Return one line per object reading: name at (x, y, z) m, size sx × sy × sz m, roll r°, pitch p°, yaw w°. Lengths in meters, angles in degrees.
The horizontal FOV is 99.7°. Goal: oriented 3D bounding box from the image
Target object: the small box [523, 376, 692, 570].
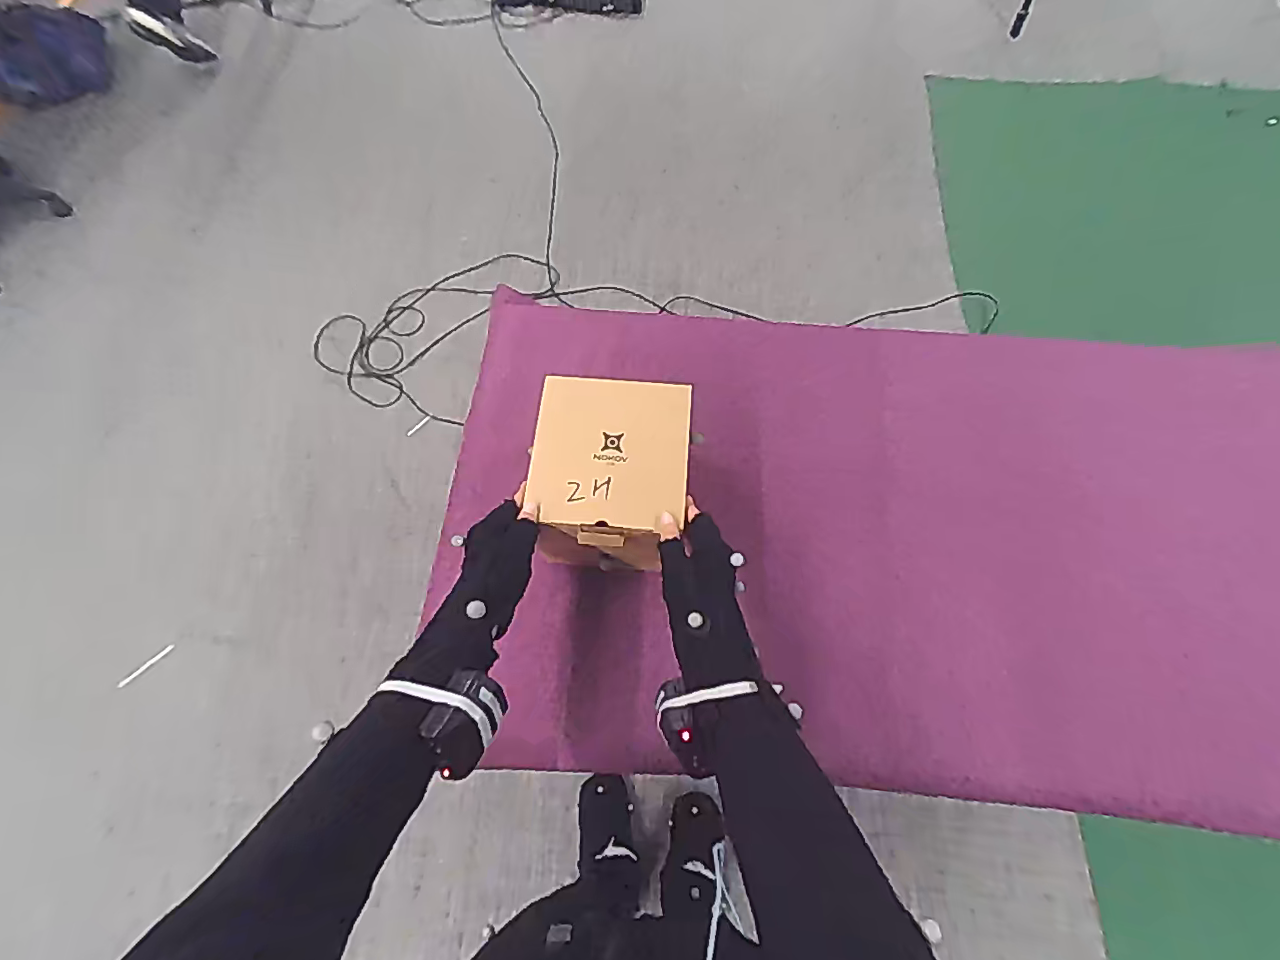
small box at (-0.030, -0.002, 0.649) m, size 0.168 × 0.176 × 0.179 m, roll 4°, pitch 68°, yaw 3°
